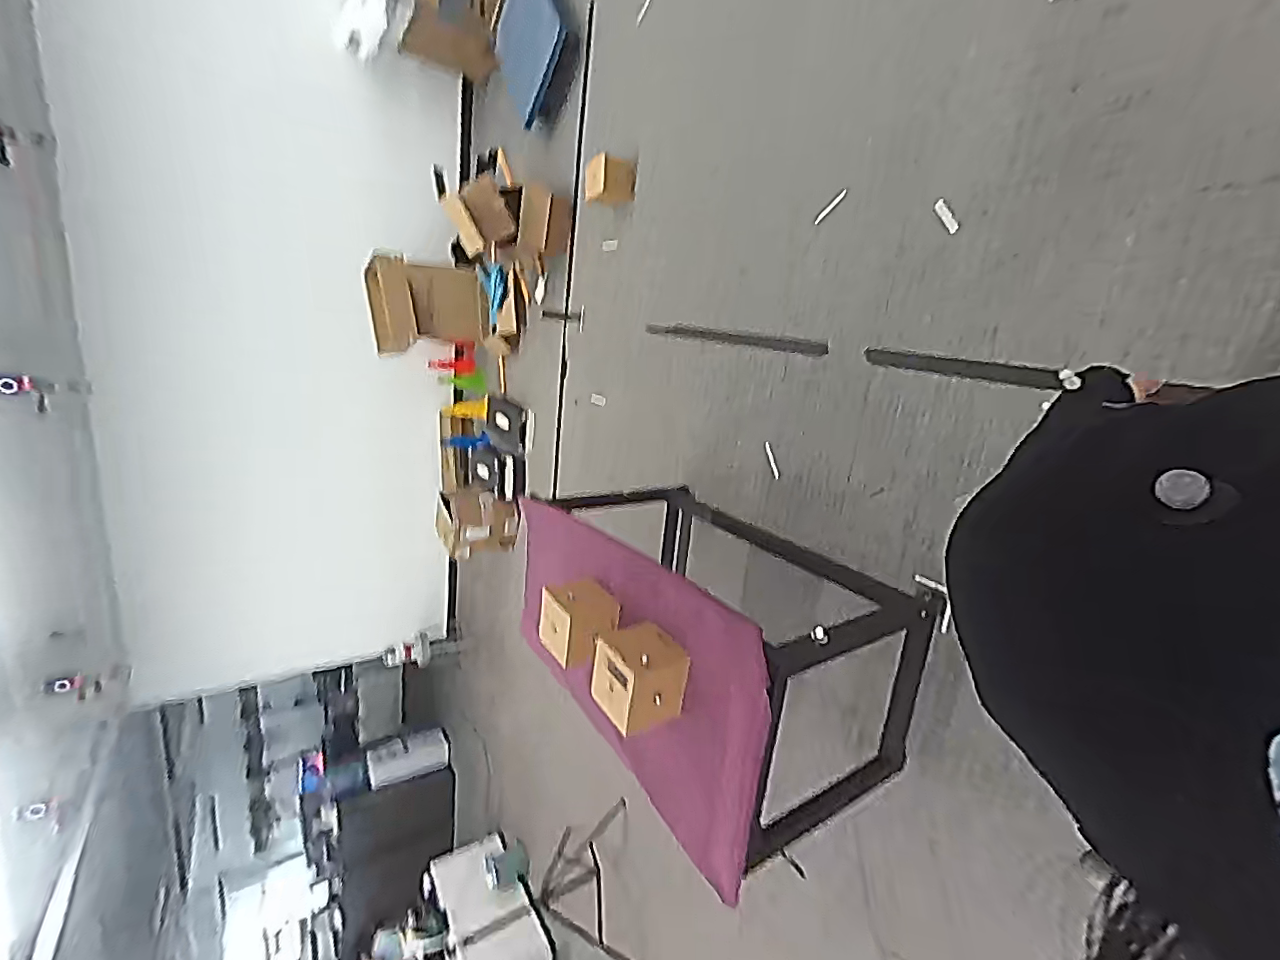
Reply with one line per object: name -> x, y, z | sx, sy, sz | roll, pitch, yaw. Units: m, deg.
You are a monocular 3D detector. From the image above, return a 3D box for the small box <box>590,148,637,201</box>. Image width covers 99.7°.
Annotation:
small box -> -0.126, -1.479, 2.621 | 0.179, 0.176, 0.168 | 16, 107, 54

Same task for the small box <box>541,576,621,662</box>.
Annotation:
small box -> -0.172, 0.396, 1.578 | 0.179, 0.176, 0.168 | 30, 117, 50
